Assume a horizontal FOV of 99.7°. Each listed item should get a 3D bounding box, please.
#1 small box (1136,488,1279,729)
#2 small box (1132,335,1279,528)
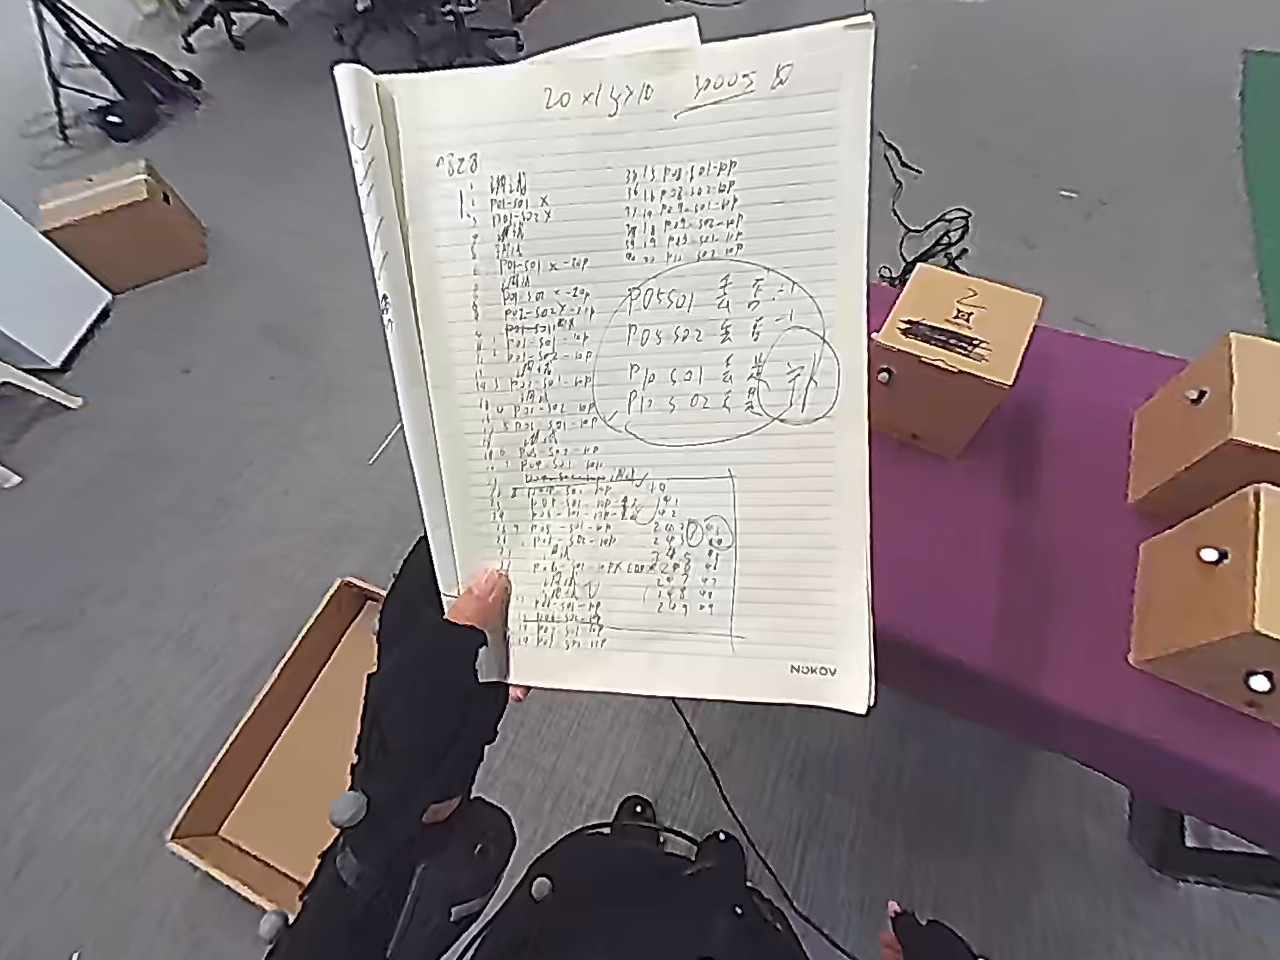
[{"bbox_3d":[0.678,0.145,0.570,0.168,0.176,0.179,24,66,18],"label":"small box"},{"bbox_3d":[0.760,-0.040,0.667,0.168,0.176,0.179,22,65,17],"label":"small box"}]
